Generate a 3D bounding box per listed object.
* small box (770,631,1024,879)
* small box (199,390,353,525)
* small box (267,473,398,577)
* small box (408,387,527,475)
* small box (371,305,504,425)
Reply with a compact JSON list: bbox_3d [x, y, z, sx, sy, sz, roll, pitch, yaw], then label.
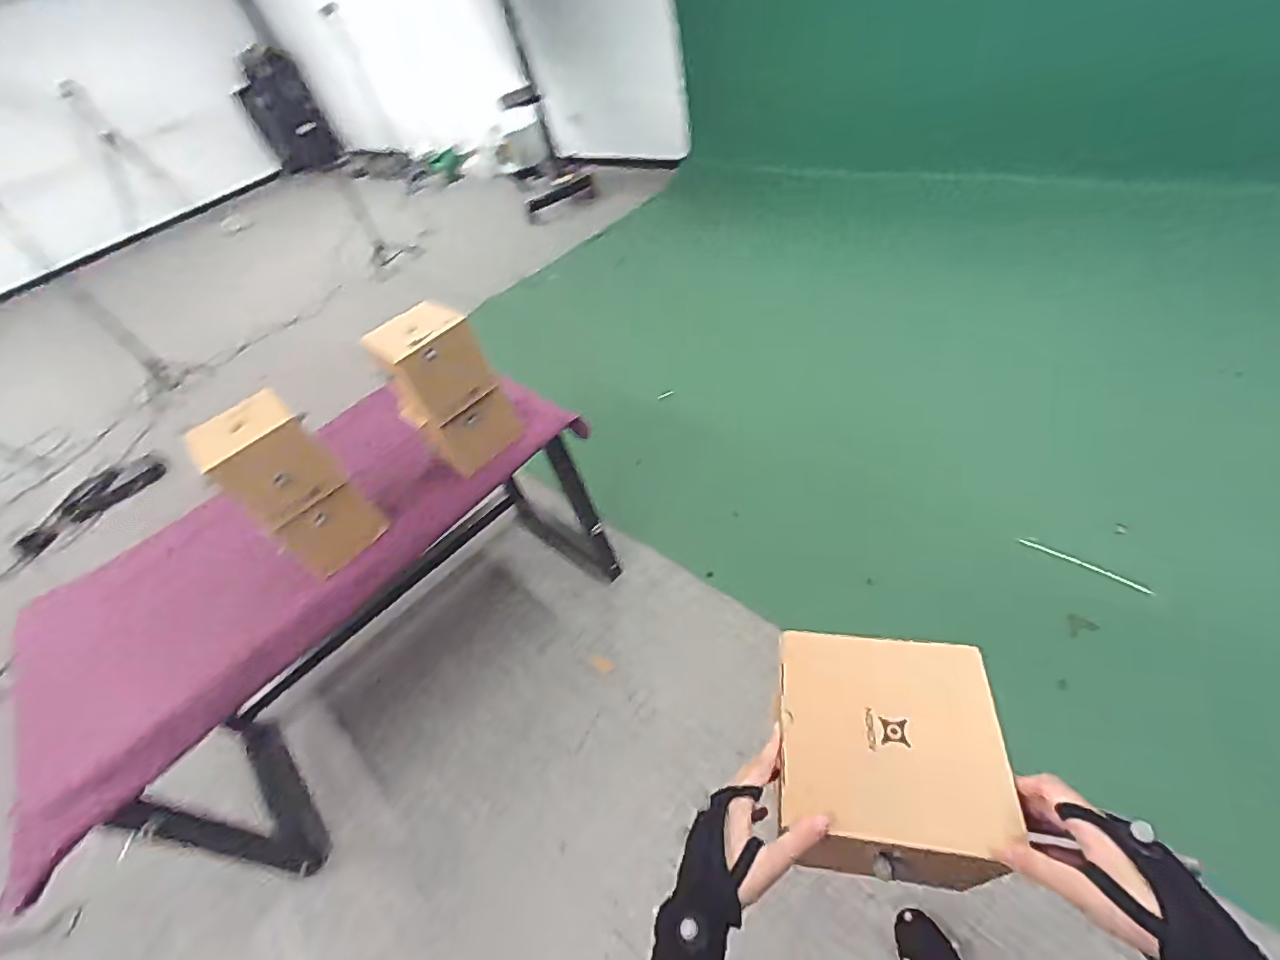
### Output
[{"bbox_3d":[0.216,0.262,0.514,0.179,0.176,0.168,0,48,12],"label":"small box"},{"bbox_3d":[-0.691,-0.039,1.040,0.168,0.176,0.179,-40,48,-21],"label":"small box"},{"bbox_3d":[-0.661,0.074,1.155,0.168,0.176,0.179,29,61,38],"label":"small box"},{"bbox_3d":[-0.399,-0.140,1.275,0.168,0.176,0.179,27,60,36],"label":"small box"},{"bbox_3d":[-0.425,-0.242,1.148,0.179,0.176,0.168,30,62,38],"label":"small box"}]
